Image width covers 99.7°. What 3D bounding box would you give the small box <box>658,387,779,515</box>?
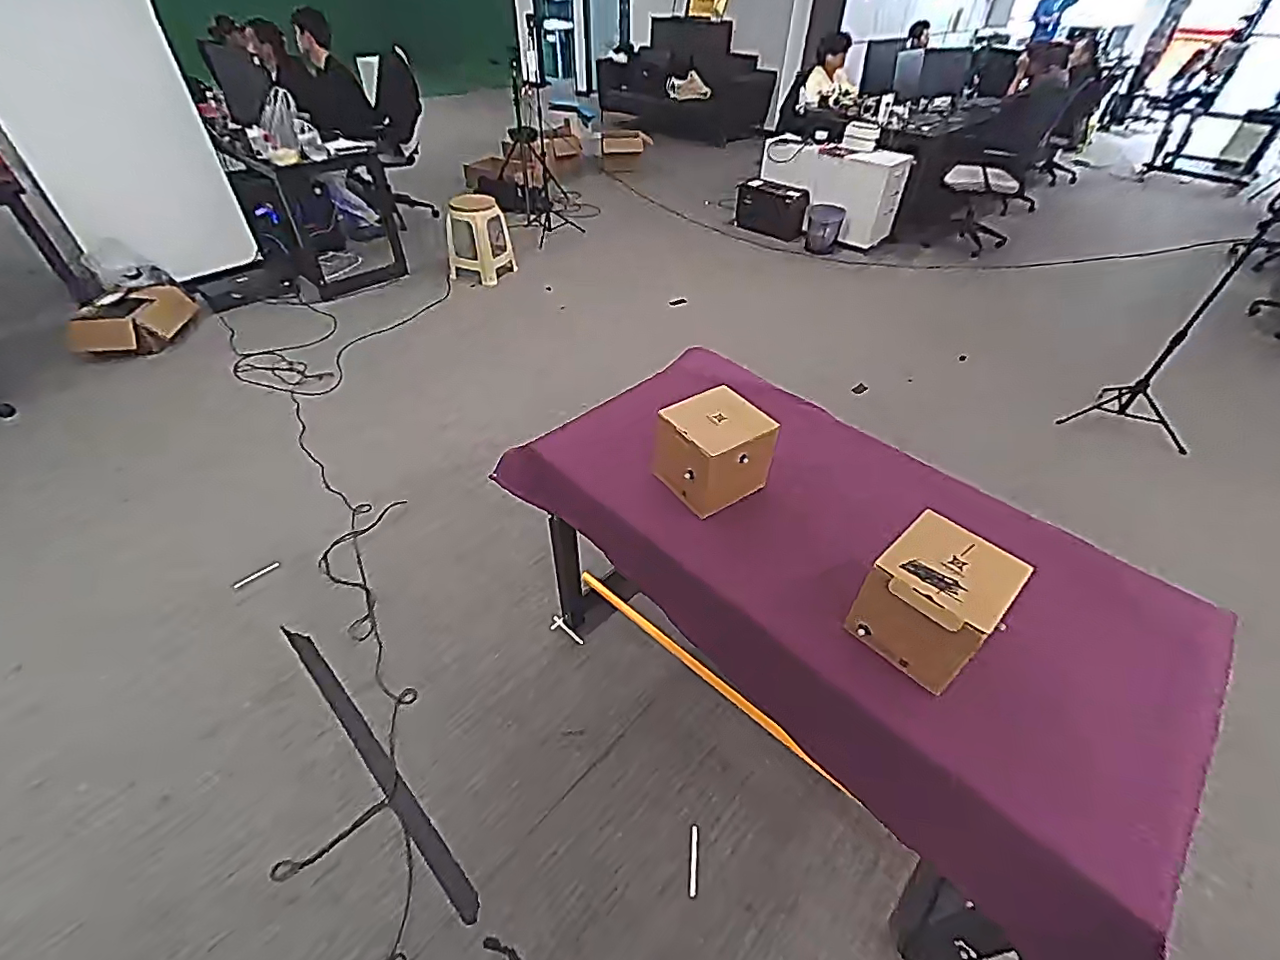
[{"bbox_3d":[0.150,-0.057,1.095,0.179,0.176,0.168,-24,50,-25],"label":"small box"}]

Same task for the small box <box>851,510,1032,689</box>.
[{"bbox_3d":[0.454,0.186,0.842,0.179,0.176,0.168,-30,52,-31],"label":"small box"}]
